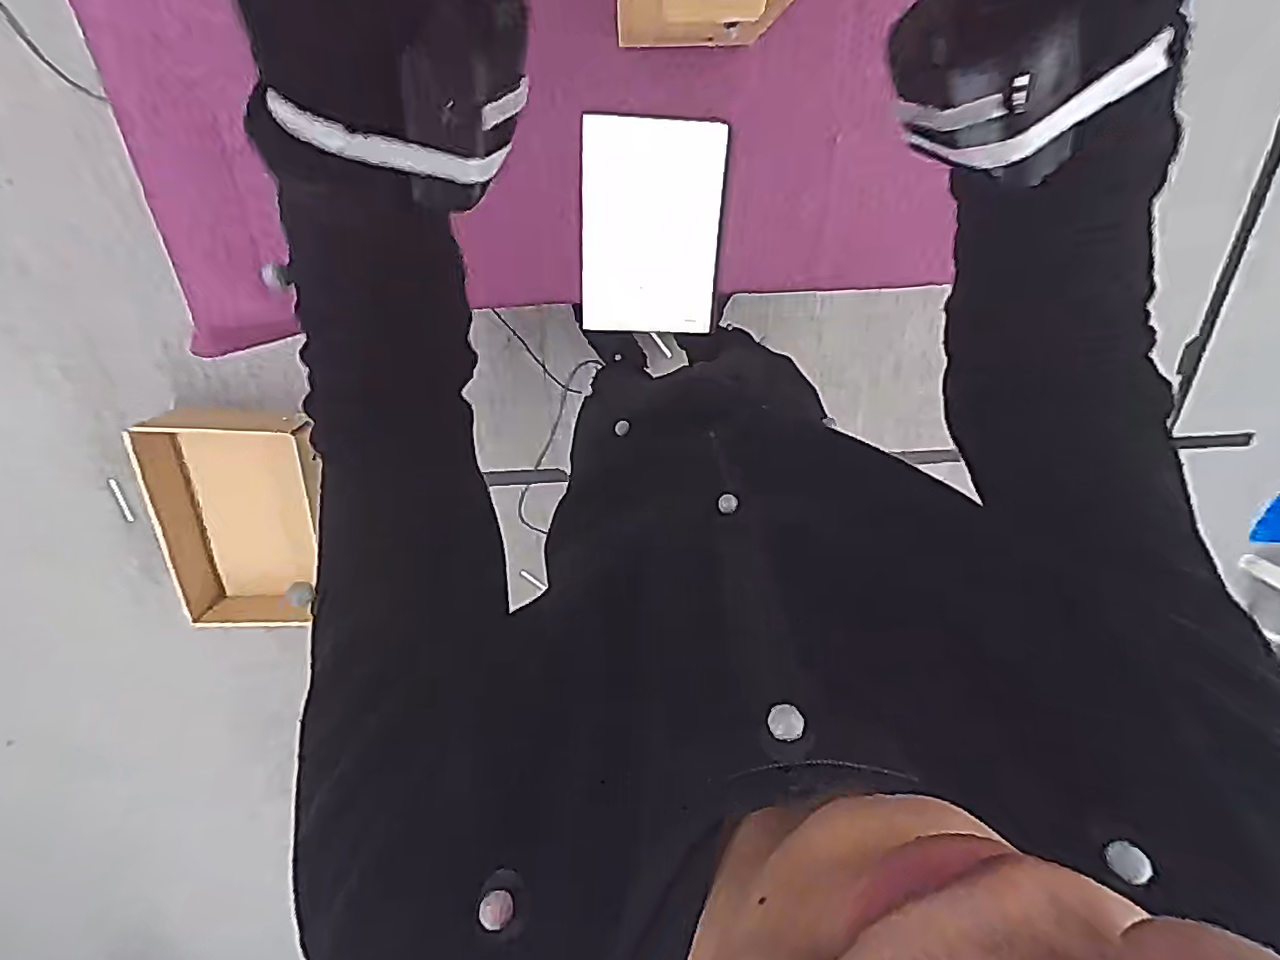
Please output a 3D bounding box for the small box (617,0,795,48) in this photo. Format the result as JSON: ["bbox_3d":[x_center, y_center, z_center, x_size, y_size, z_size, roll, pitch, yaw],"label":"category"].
[{"bbox_3d":[0.062,-0.563,0.545,0.168,0.176,0.179,-4,115,-5],"label":"small box"}]
